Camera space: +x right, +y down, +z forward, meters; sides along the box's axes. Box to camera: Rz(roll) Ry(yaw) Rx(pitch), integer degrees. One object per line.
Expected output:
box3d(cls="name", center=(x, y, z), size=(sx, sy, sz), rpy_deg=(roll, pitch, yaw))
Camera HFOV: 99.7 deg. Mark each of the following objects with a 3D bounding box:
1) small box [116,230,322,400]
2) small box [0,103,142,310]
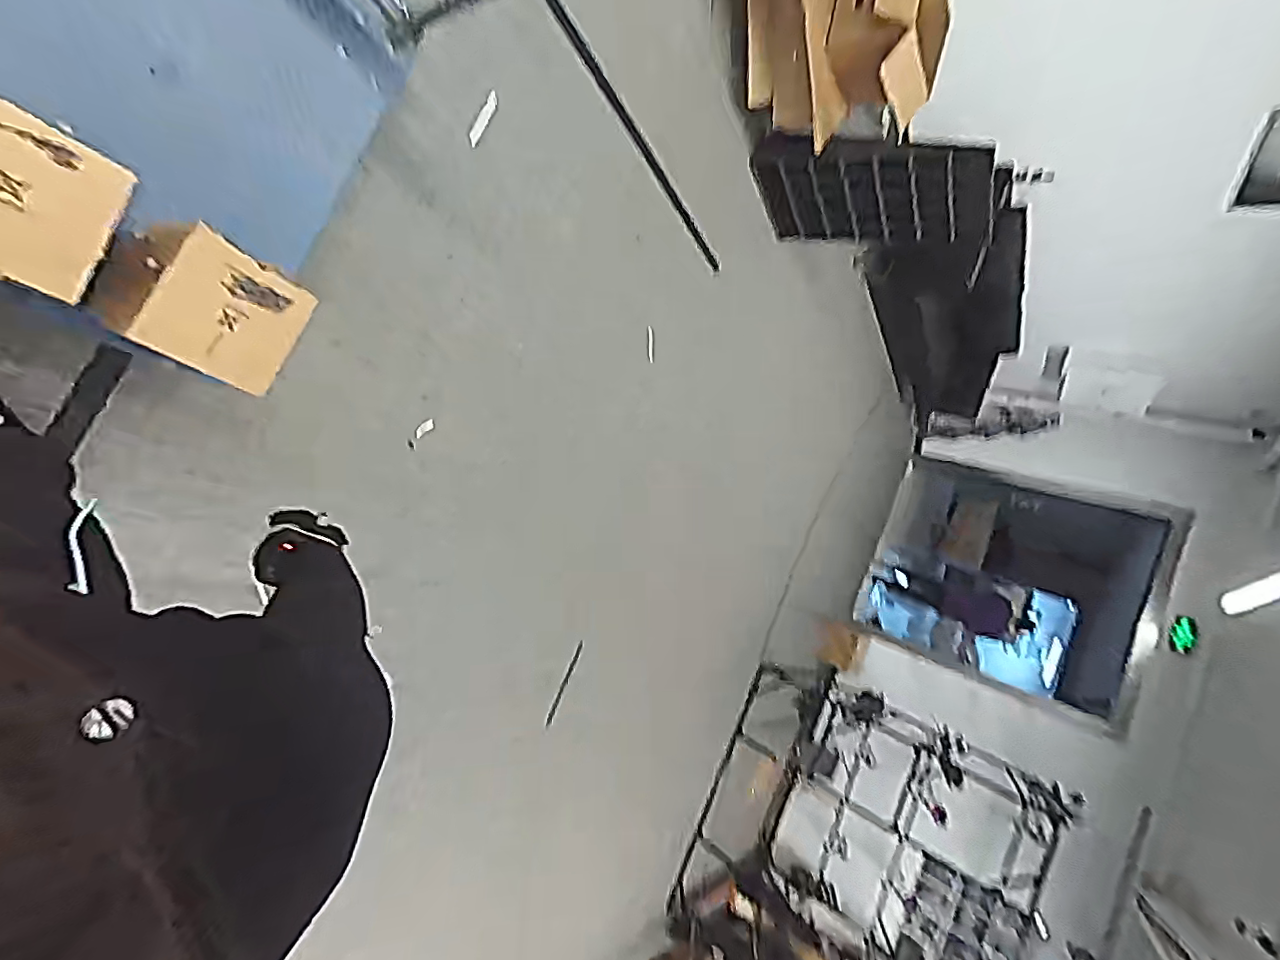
box3d(cls="small box", center=(-0.628, -0.247, 0.807), size=(0.168, 0.176, 0.179), rpy_deg=(38, 75, -53))
box3d(cls="small box", center=(-0.738, -0.324, 0.632), size=(0.168, 0.176, 0.179), rpy_deg=(28, 83, -54))
